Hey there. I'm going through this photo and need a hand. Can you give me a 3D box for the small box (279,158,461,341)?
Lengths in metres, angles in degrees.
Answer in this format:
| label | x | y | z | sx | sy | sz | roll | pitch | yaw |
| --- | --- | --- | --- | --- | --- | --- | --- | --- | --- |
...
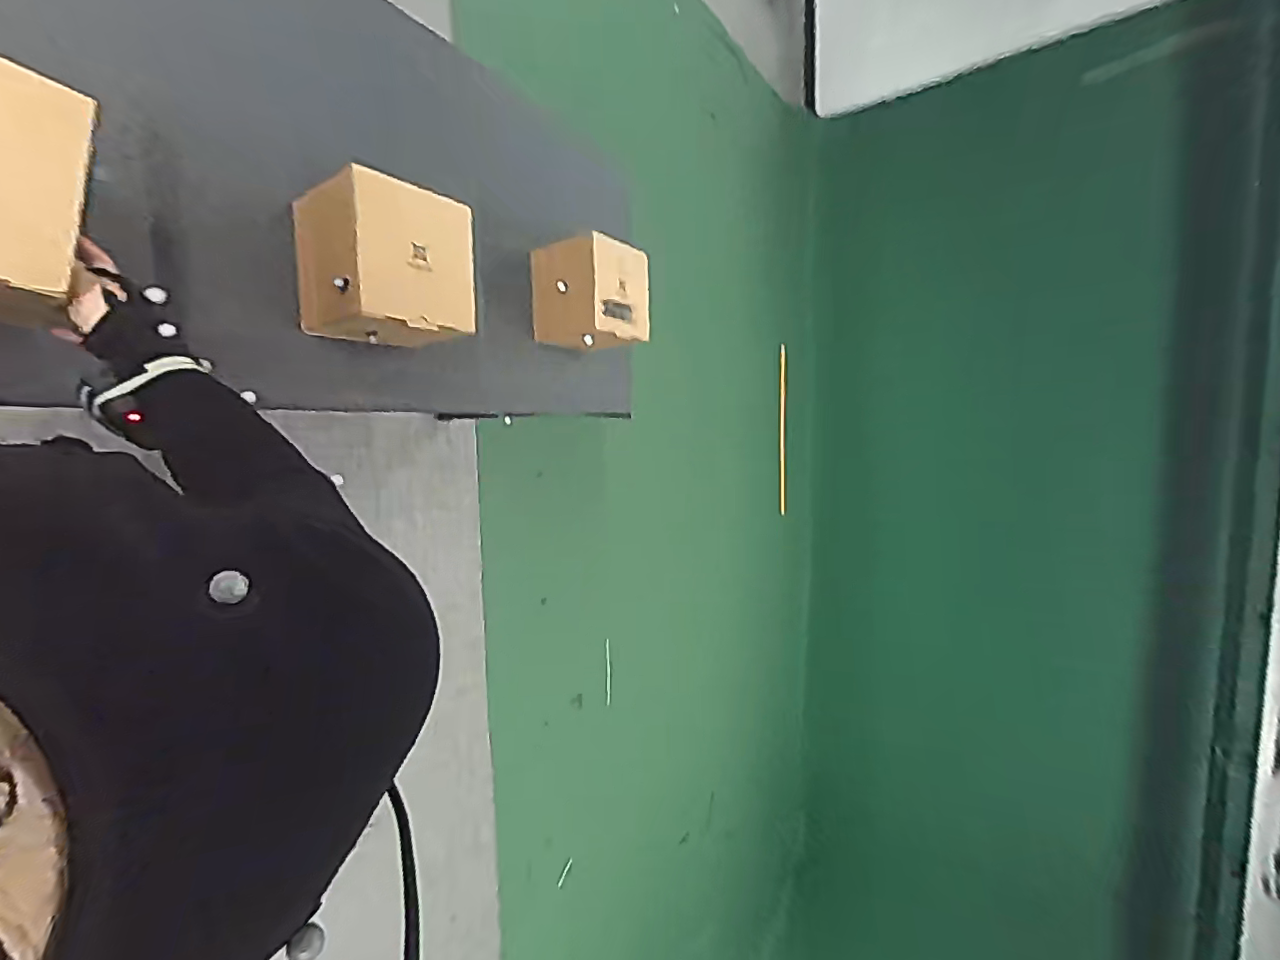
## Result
| label | x | y | z | sx | sy | sz | roll | pitch | yaw |
| --- | --- | --- | --- | --- | --- | --- | --- | --- | --- |
| small box | -0.368 | -0.297 | 0.741 | 0.168 | 0.176 | 0.179 | -8 | 100 | -55 |
